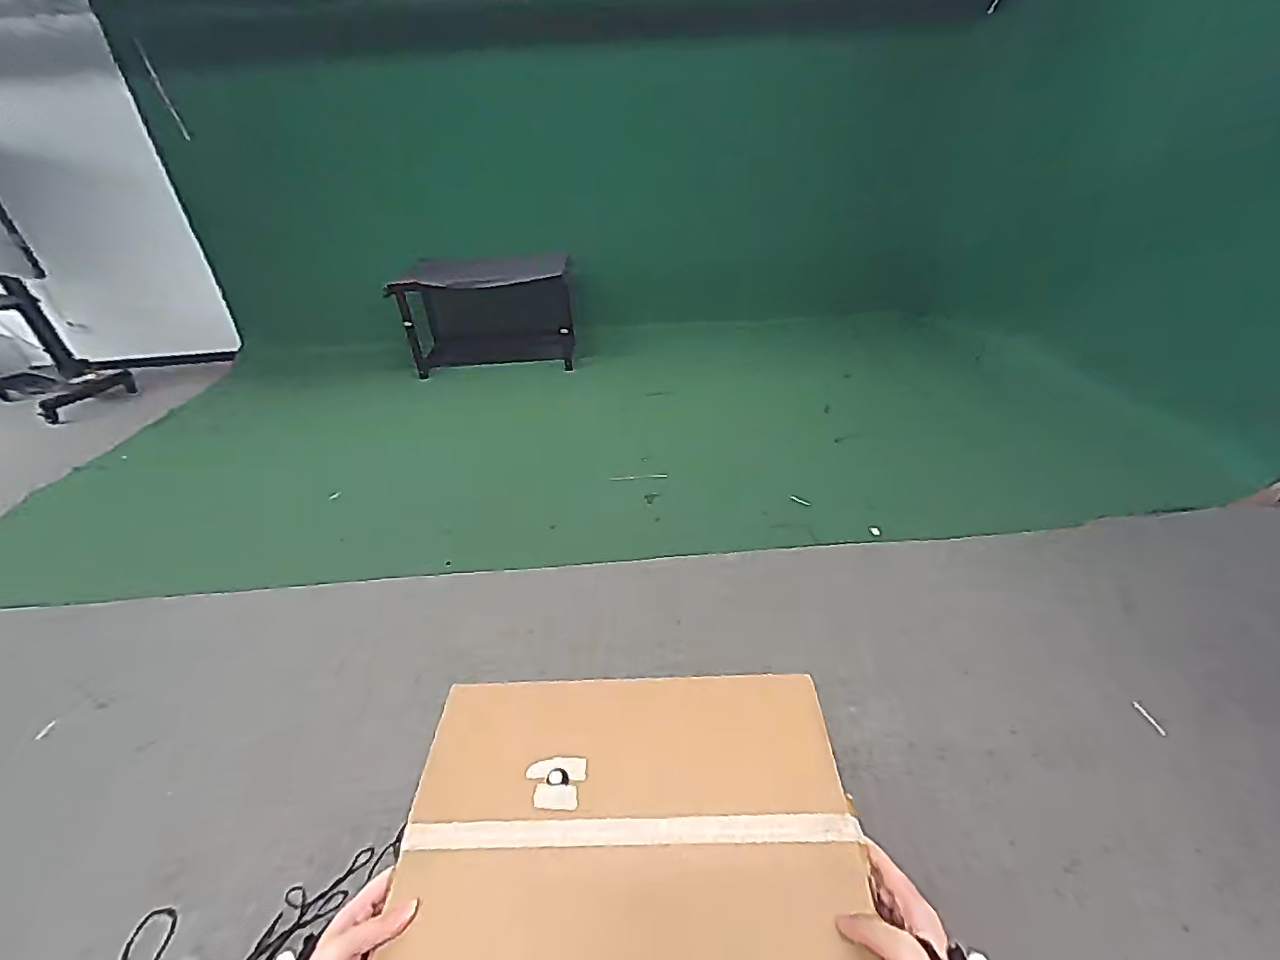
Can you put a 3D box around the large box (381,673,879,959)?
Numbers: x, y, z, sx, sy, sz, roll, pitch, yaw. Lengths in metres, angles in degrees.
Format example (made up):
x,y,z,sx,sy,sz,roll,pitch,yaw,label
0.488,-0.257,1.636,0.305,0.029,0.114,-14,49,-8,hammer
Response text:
x,y,z,sx,sy,sz,roll,pitch,yaw,label
0.001,0.442,0.586,0.408,0.320,0.320,-5,37,4,large box
